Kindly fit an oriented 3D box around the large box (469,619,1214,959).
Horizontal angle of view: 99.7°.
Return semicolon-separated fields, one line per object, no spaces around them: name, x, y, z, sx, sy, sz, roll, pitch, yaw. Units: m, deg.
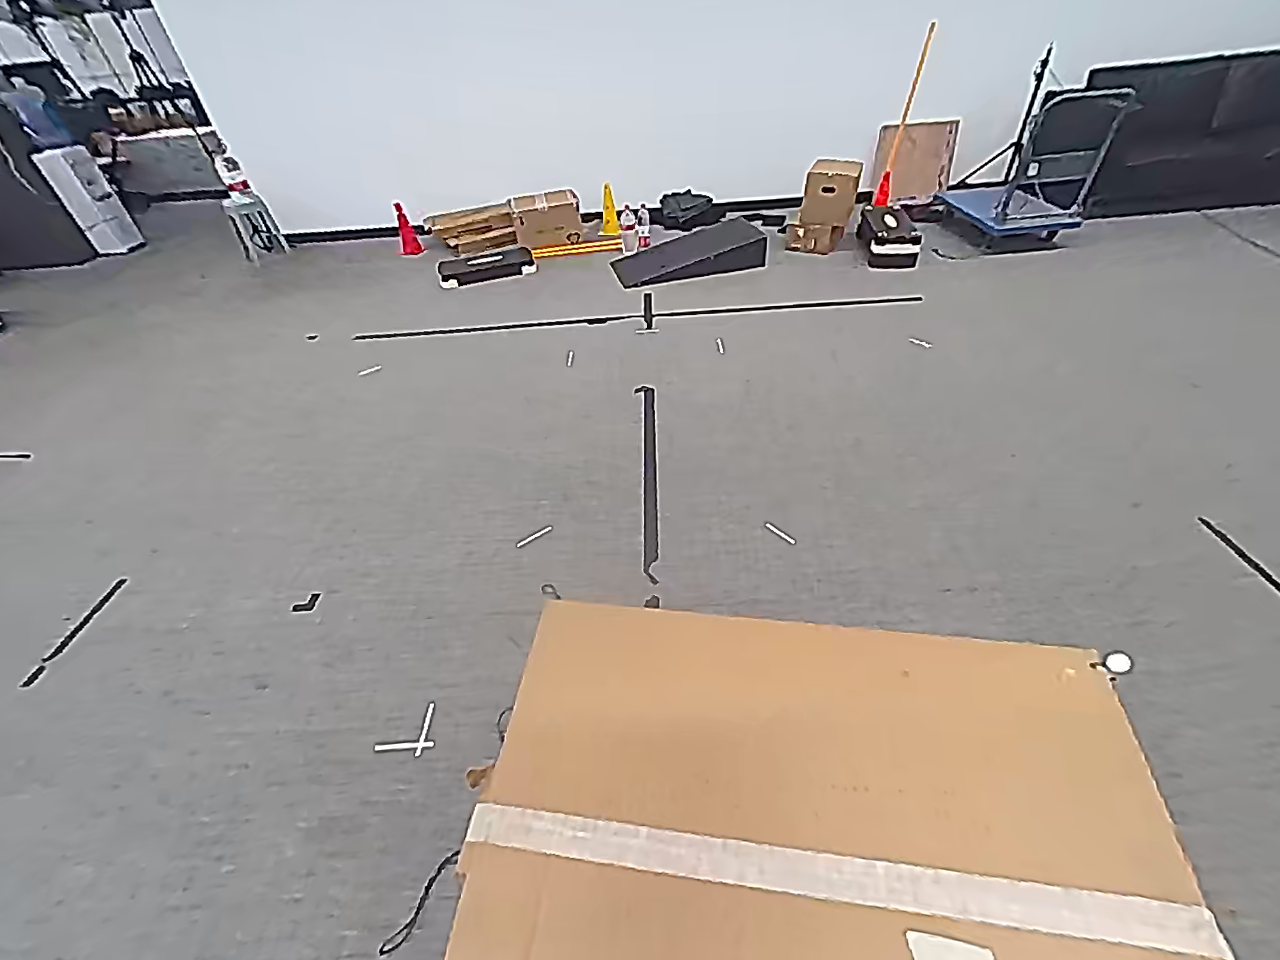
large box;0.114;0.334;0.427;0.408;0.320;0.320;3;50;8
